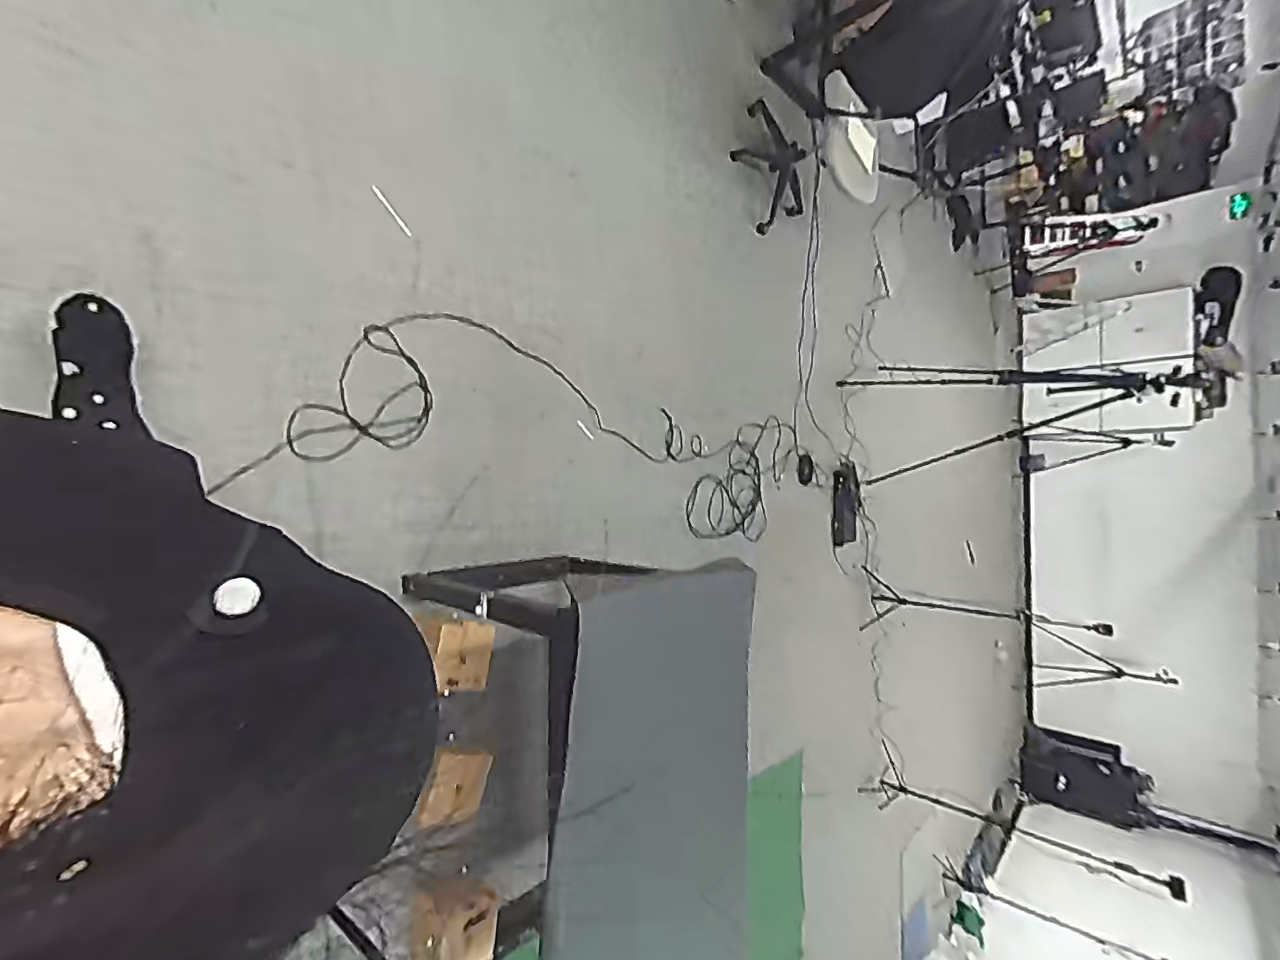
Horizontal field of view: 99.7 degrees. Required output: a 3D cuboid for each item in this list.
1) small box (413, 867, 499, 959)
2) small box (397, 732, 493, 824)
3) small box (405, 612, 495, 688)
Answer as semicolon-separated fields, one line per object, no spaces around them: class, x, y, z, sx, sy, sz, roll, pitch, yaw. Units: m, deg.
small box;-0.514;1.221;1.506;0.168;0.176;0.179;9;84;-45
small box;-0.540;0.815;1.488;0.168;0.176;0.179;29;67;-43
small box;-0.531;0.468;1.505;0.168;0.176;0.179;18;76;-44
